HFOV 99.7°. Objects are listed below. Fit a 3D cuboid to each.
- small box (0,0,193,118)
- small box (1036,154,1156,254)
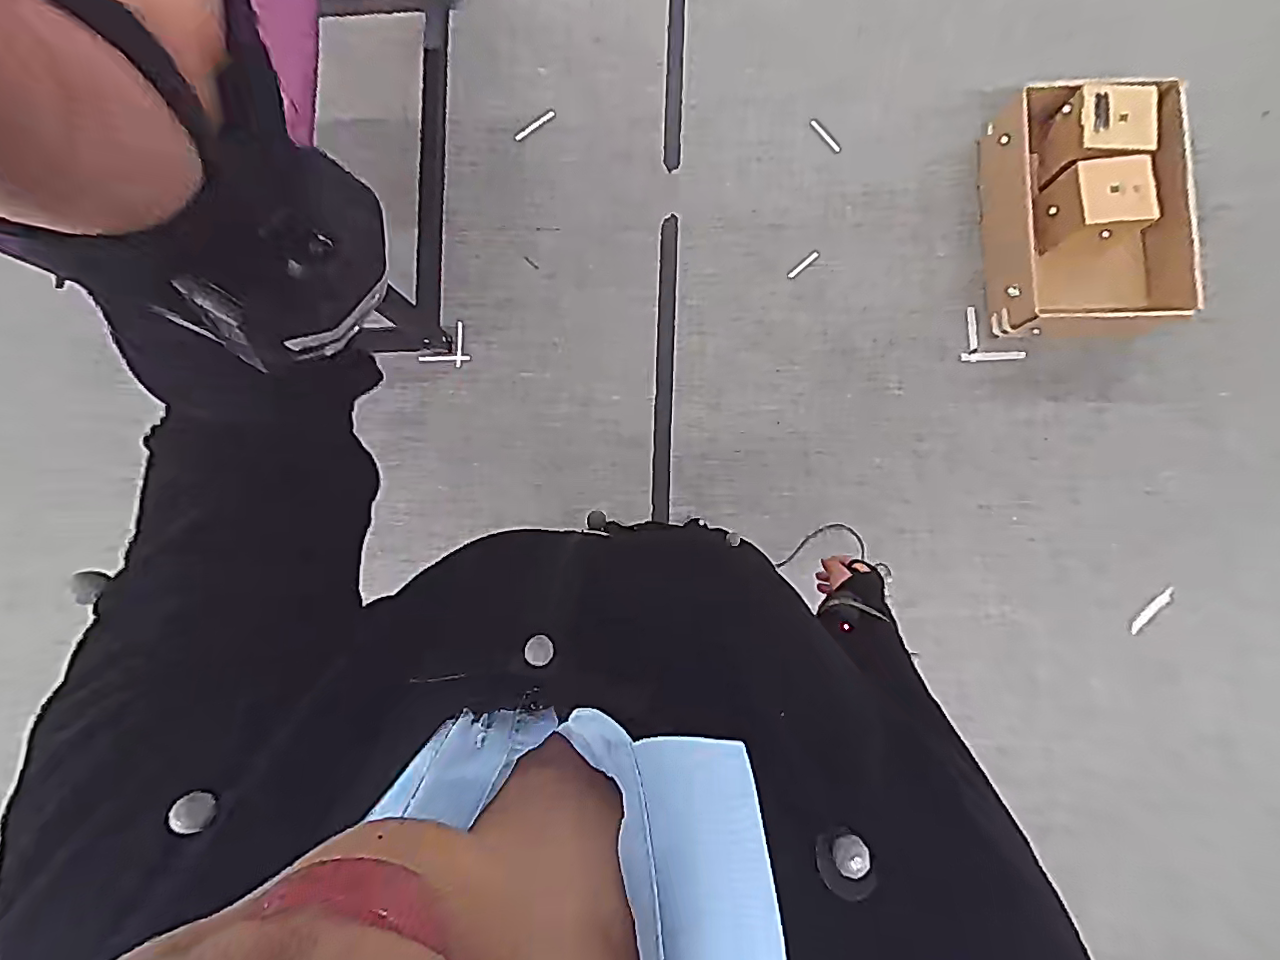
[{"bbox_3d":[-0.817,-0.669,0.796,0.179,0.176,0.168,-3,84,2],"label":"small box"},{"bbox_3d":[1.165,-0.705,1.400,0.179,0.176,0.168,-4,86,2],"label":"small box"}]
